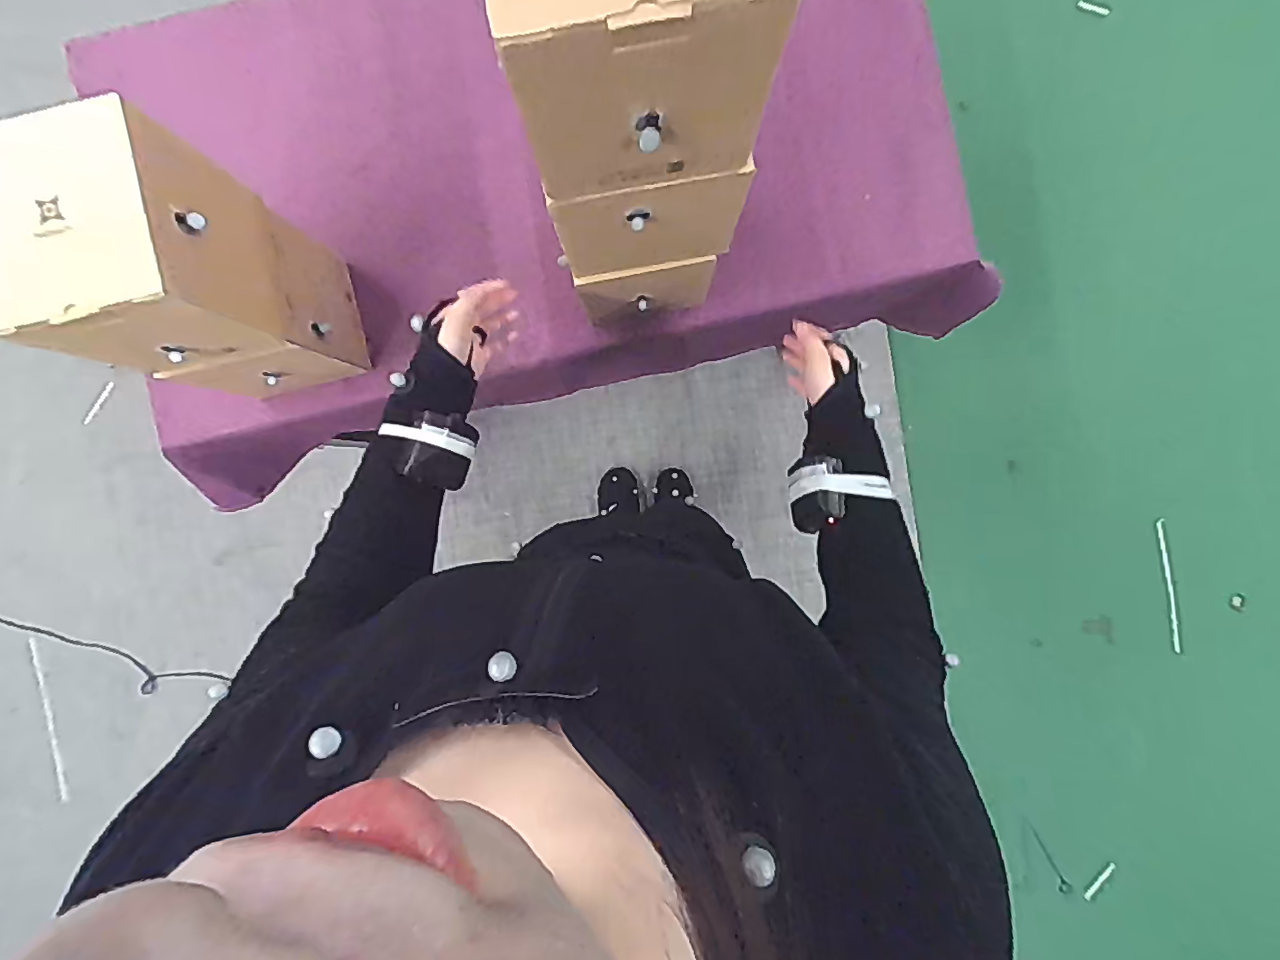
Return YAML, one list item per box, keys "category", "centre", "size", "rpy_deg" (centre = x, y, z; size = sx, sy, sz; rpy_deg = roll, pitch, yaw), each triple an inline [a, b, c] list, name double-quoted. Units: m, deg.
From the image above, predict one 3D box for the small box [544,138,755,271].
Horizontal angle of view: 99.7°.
- category: "small box"
  centre: [0.001, -0.321, 0.527]
  size: [0.179, 0.176, 0.168]
  rpy_deg: [-9, 91, 0]

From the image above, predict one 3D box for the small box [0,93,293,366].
- category: "small box"
  centre: [-0.488, -0.227, 0.535]
  size: [0.168, 0.176, 0.179]
  rpy_deg: [-12, 92, 1]

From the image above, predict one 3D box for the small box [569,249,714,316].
- category: "small box"
  centre: [-0.005, -0.320, 0.692]
  size: [0.168, 0.176, 0.179]
  rpy_deg: [-9, 91, 0]

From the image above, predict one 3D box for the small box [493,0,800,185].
- category: "small box"
  centre: [-0.004, -0.324, 0.363]
  size: [0.168, 0.176, 0.179]
  rpy_deg: [-9, 92, 1]
